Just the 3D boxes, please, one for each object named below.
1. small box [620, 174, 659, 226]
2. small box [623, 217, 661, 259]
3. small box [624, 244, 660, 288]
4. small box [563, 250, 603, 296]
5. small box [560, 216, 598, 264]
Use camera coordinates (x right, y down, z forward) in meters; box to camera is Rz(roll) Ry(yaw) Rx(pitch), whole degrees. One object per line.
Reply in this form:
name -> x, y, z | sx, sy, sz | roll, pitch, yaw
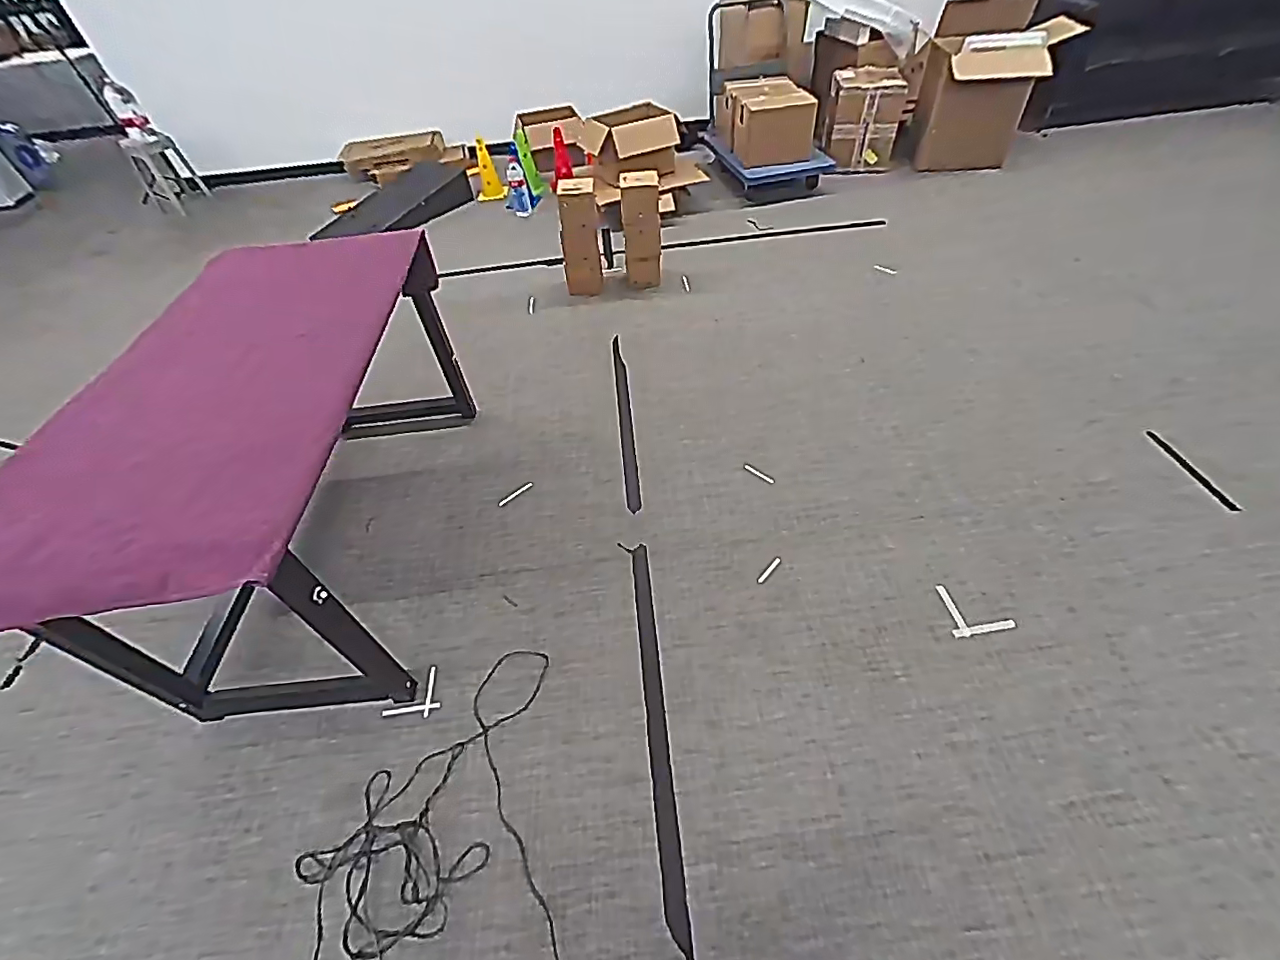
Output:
small box -> -0.002, -1.307, 2.527 | 0.179, 0.176, 0.168 | -2, 49, 1
small box -> 0.008, -1.201, 2.652 | 0.179, 0.176, 0.168 | -5, 49, -1
small box -> 0.011, -1.105, 2.786 | 0.168, 0.176, 0.179 | -7, 48, -2
small box -> -0.289, -1.060, 2.772 | 0.179, 0.176, 0.168 | -2, 48, 2
small box -> -0.296, -1.174, 2.656 | 0.168, 0.176, 0.179 | -2, 47, 0
